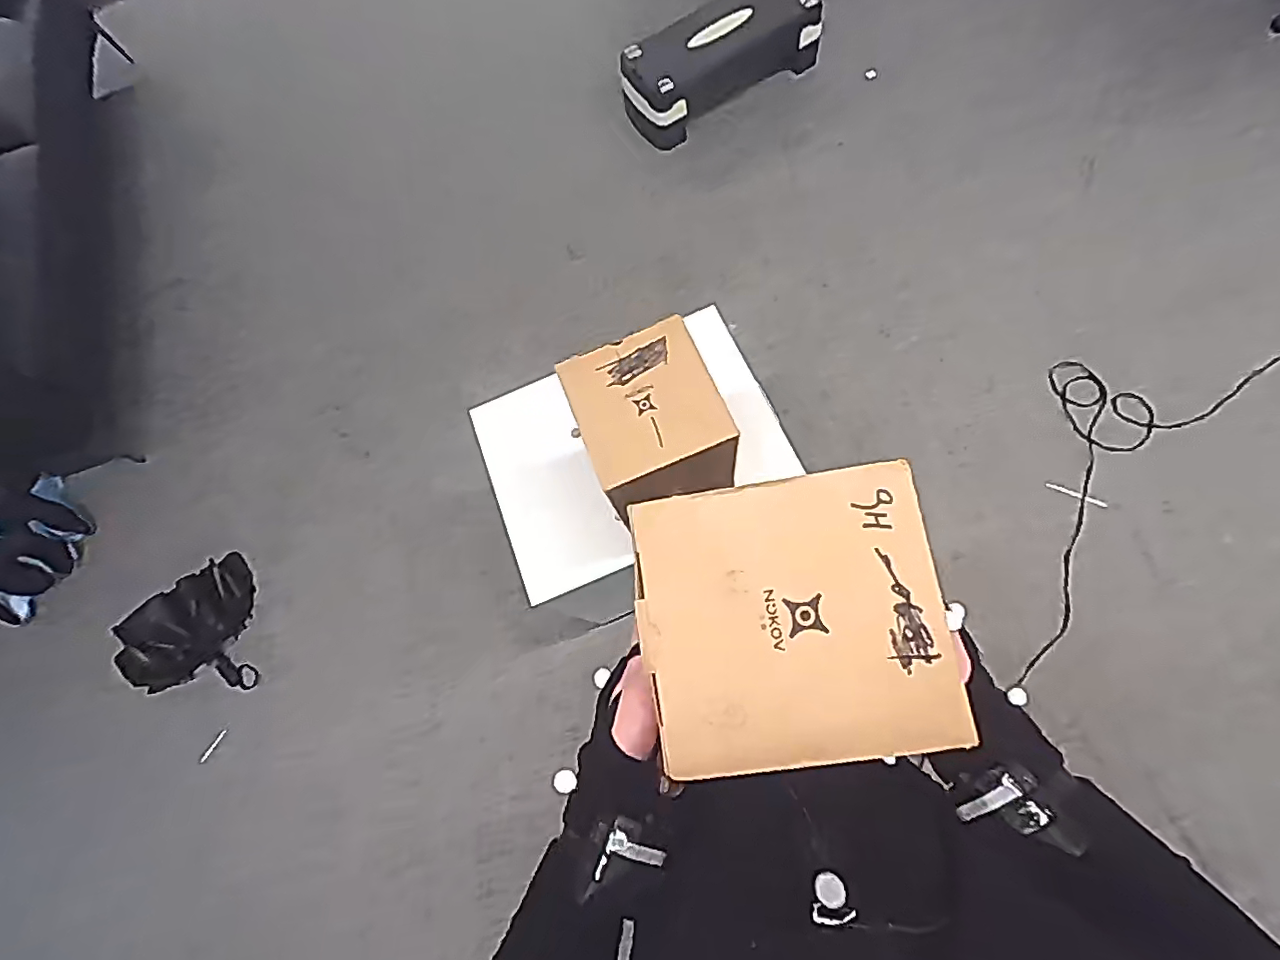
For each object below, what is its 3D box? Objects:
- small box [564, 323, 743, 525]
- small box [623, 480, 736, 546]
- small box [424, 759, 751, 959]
[{"bbox_3d":[0.020,-0.063,0.701,0.168,0.176,0.179,-22,70,0],"label":"small box"},{"bbox_3d":[0.042,-0.008,0.855,0.168,0.176,0.179,-23,68,-1],"label":"small box"},{"bbox_3d":[-0.031,0.359,0.447,0.176,0.179,0.168,-31,82,27],"label":"small box"}]
